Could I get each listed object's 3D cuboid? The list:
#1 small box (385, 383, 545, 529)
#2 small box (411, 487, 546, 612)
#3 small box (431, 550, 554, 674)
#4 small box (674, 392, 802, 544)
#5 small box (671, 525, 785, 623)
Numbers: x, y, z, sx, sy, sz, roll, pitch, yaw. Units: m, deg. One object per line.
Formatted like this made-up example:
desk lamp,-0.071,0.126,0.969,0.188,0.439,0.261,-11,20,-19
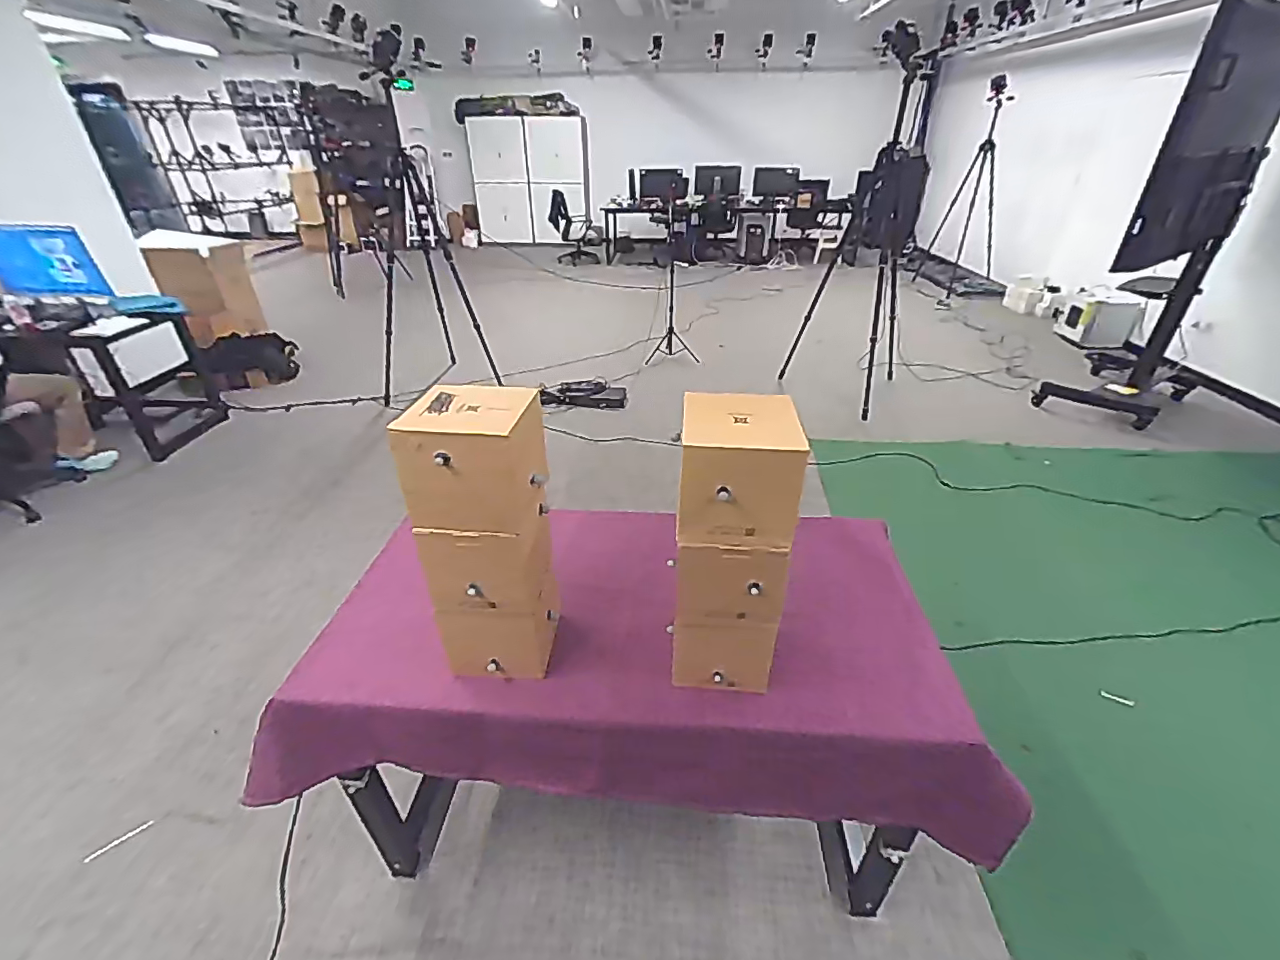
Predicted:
small box,-0.256,-0.039,0.838,0.179,0.176,0.168,4,33,5
small box,-0.262,0.100,0.926,0.168,0.176,0.179,2,33,4
small box,-0.262,0.242,1.010,0.179,0.176,0.168,2,32,2
small box,0.138,-0.019,0.813,0.168,0.176,0.179,3,32,4
small box,0.139,0.118,0.900,0.168,0.176,0.179,3,33,4
